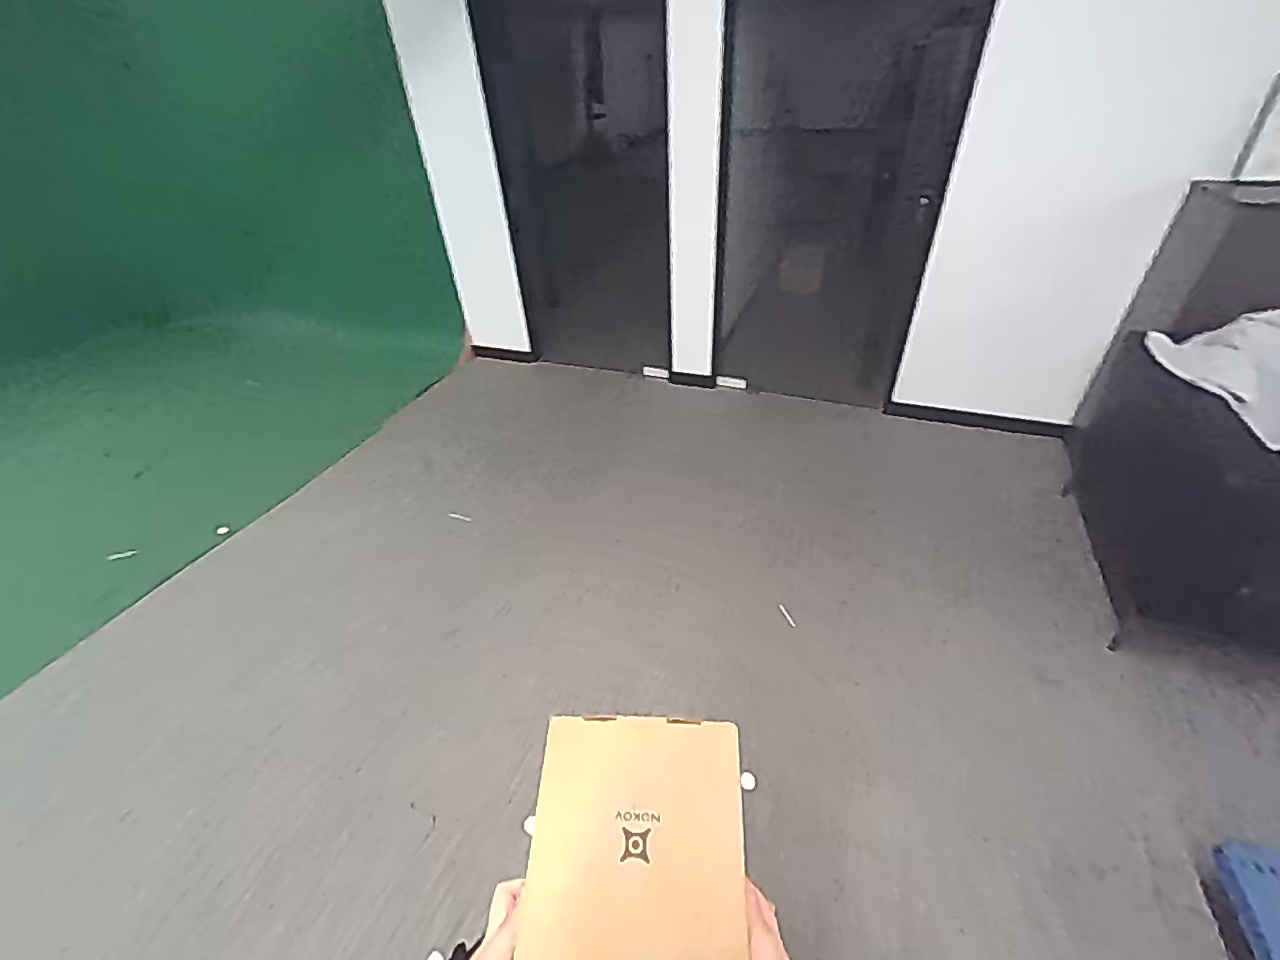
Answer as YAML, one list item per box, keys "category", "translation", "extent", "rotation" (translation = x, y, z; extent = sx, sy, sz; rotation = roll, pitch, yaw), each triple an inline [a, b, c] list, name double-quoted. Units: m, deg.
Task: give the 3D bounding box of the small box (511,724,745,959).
- category: "small box"
  translation: [0.001, 0.330, 0.472]
  extent: [0.168, 0.176, 0.179]
  rotation: [0, 50, 5]
